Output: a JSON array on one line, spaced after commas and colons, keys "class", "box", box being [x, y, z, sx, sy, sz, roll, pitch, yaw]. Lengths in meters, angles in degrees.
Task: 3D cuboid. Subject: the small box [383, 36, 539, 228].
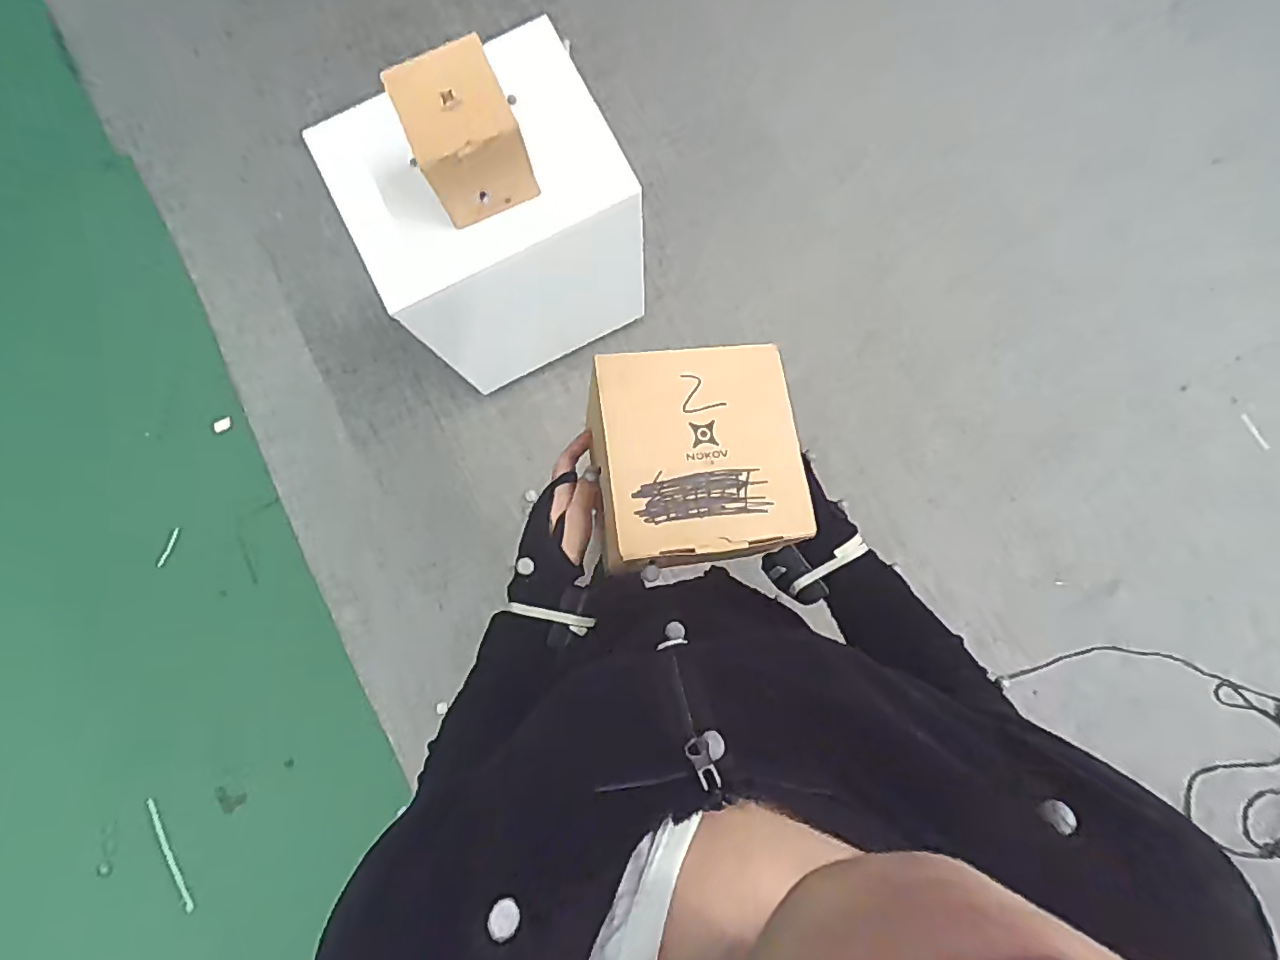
[{"class": "small box", "box": [-0.286, -0.565, 0.899, 0.168, 0.176, 0.179, -25, 84, -1]}]
